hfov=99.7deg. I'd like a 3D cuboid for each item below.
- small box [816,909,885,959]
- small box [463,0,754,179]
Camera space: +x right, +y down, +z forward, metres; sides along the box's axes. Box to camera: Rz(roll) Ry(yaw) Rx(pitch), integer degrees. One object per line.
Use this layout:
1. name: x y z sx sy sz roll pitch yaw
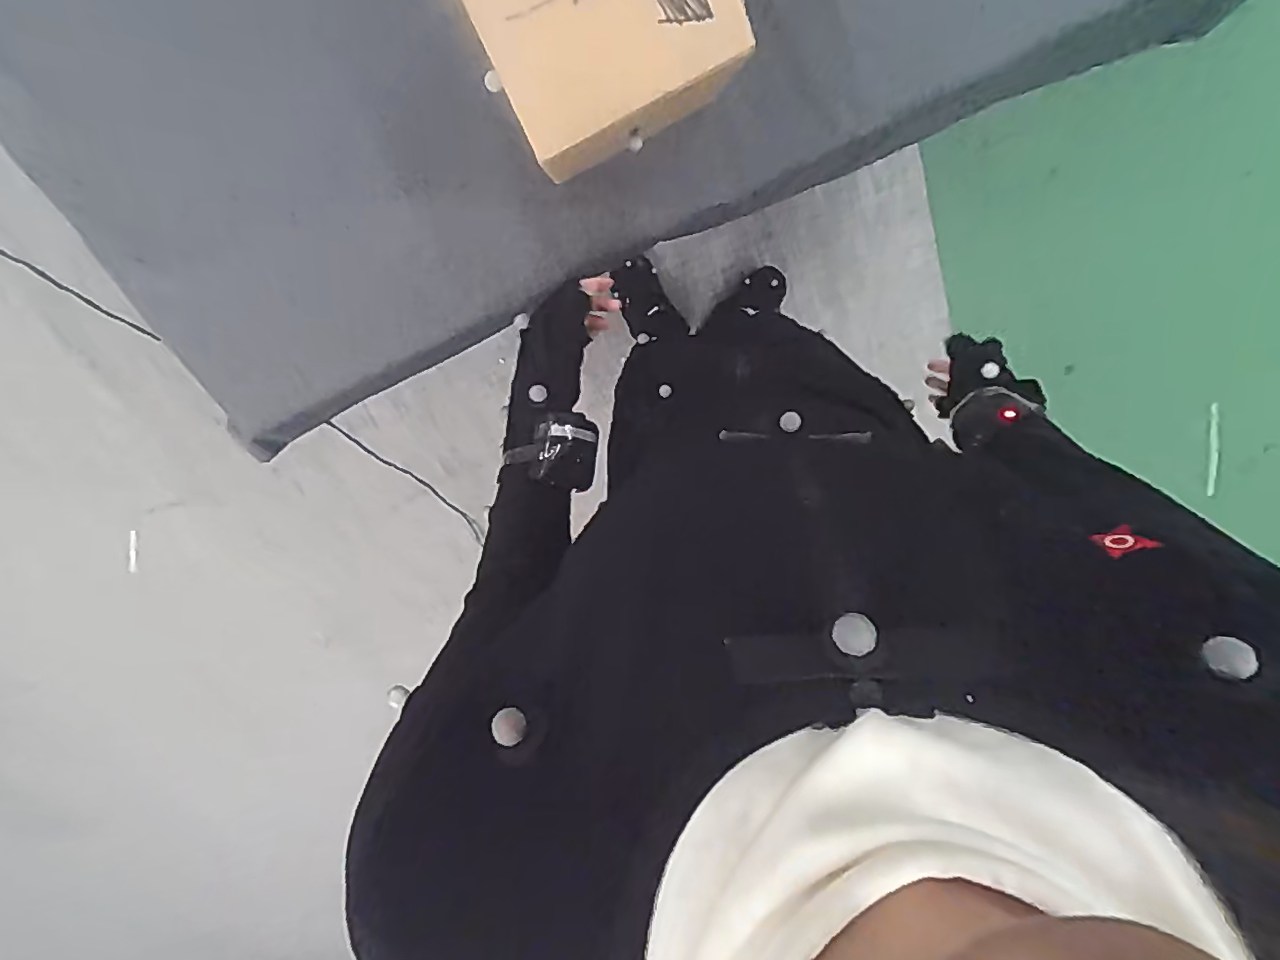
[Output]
1. small box: 0.735 1.623 1.859 0.179 0.176 0.168 -26 112 9
2. small box: -0.034 -0.367 0.432 0.179 0.176 0.168 -24 113 8
